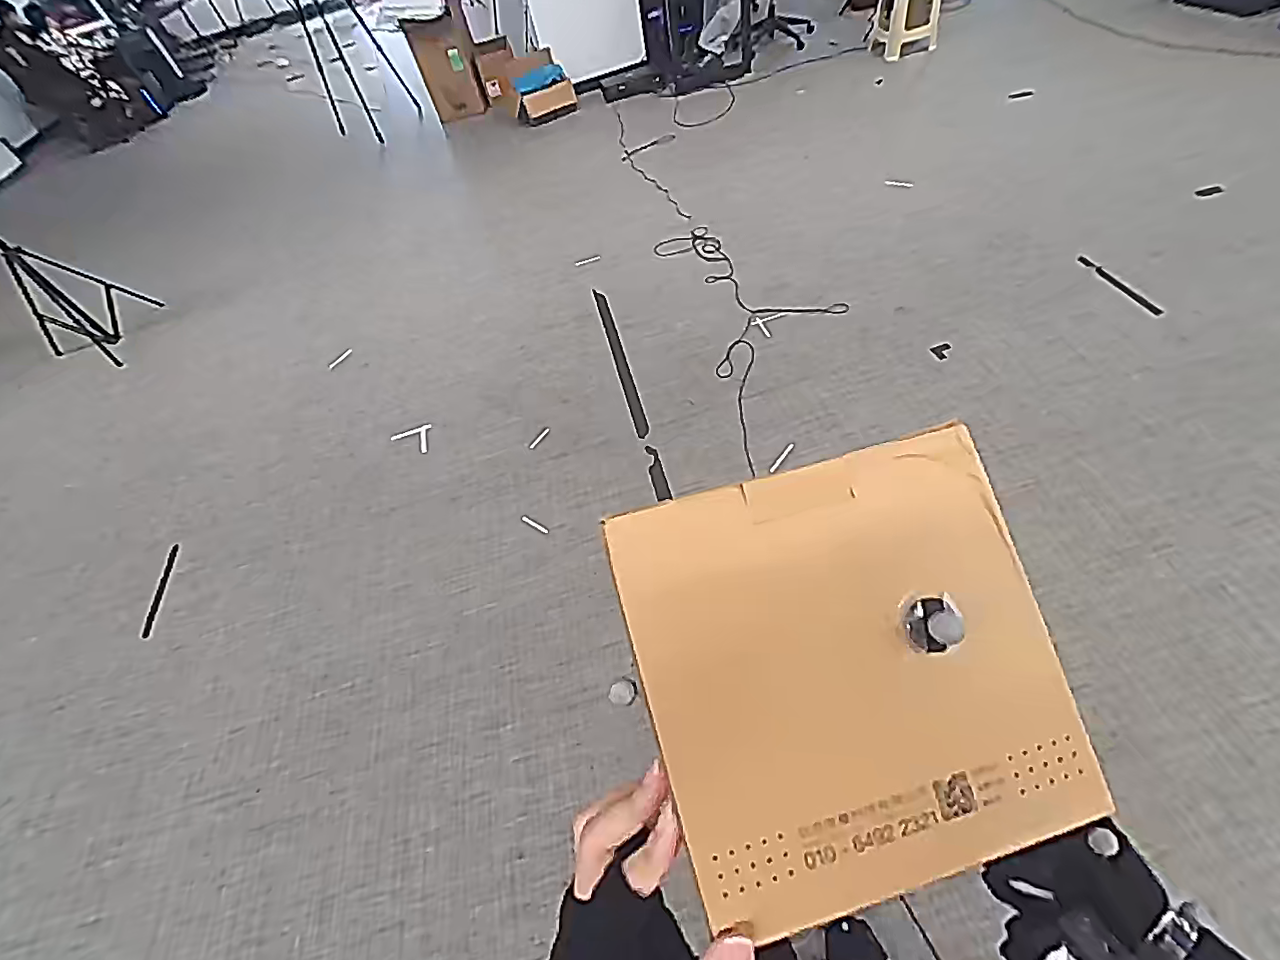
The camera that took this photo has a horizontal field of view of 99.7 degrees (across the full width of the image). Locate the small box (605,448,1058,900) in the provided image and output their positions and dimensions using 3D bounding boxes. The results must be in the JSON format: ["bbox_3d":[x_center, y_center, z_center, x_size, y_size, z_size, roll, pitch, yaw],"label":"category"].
[{"bbox_3d":[0.082,0.098,0.312,0.168,0.179,0.176,-15,82,-4],"label":"small box"}]
